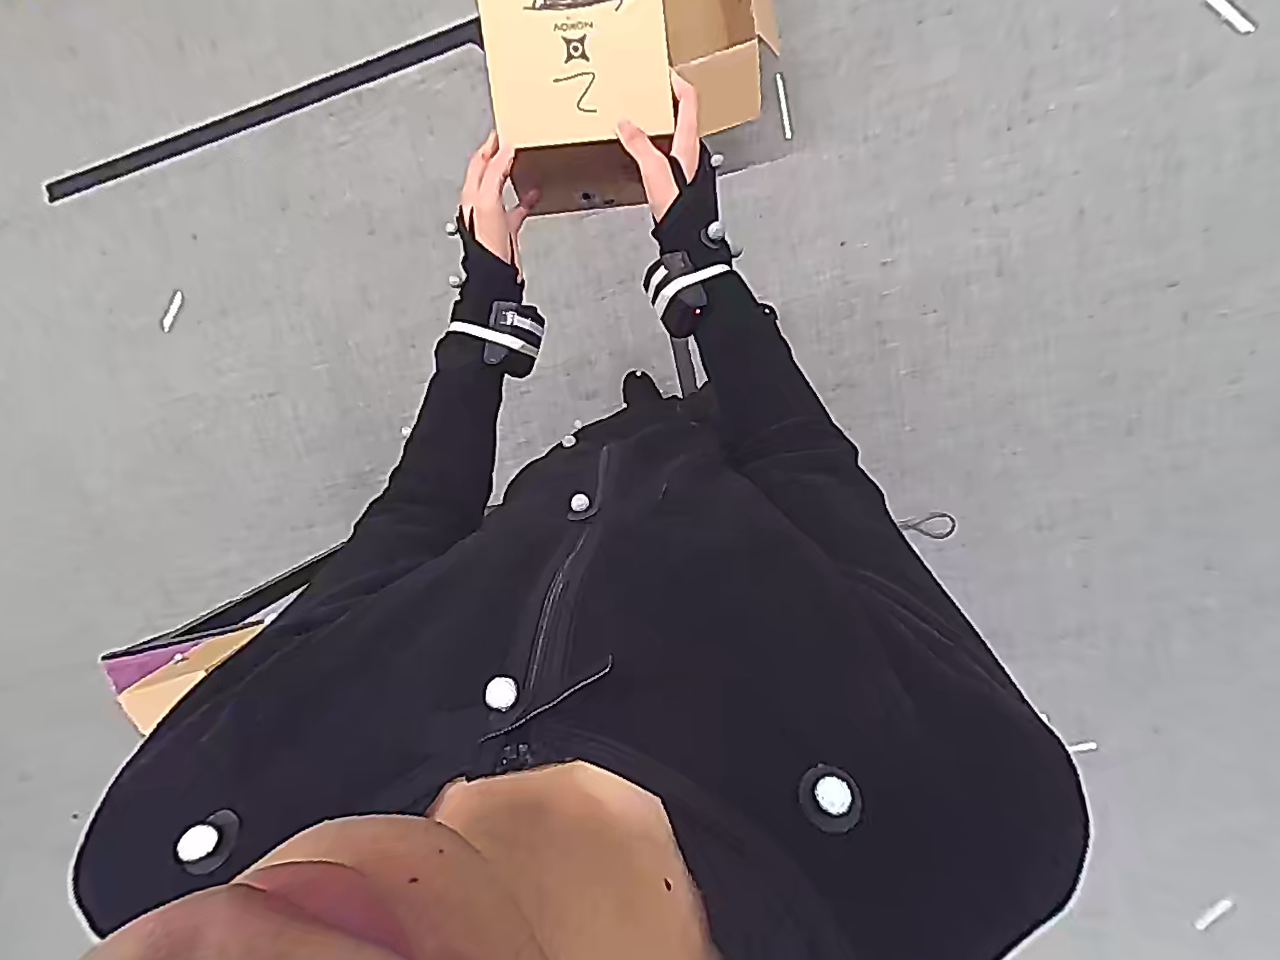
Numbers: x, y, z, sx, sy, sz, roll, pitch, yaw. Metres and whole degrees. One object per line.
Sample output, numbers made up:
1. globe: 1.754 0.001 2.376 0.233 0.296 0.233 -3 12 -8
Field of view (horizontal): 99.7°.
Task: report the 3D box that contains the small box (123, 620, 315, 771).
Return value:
1. small box: -0.735 0.377 0.965 0.179 0.176 0.168 -17 103 10
